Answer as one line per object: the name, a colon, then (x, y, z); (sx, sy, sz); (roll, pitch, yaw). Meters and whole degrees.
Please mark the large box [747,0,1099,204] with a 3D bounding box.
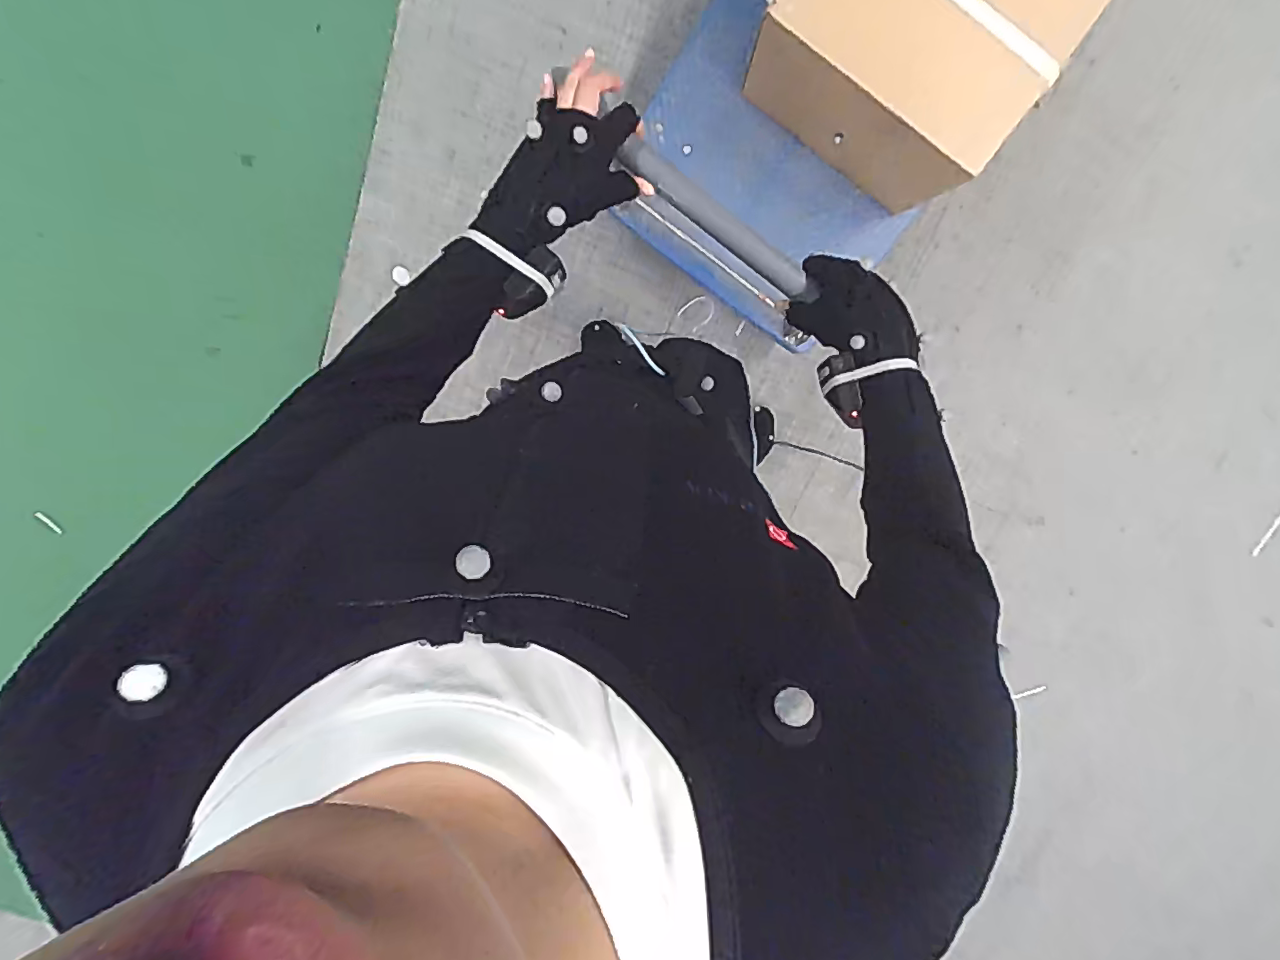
large box: (0.447, -0.748, 0.925); (0.408, 0.320, 0.320); (33, 106, -5)
